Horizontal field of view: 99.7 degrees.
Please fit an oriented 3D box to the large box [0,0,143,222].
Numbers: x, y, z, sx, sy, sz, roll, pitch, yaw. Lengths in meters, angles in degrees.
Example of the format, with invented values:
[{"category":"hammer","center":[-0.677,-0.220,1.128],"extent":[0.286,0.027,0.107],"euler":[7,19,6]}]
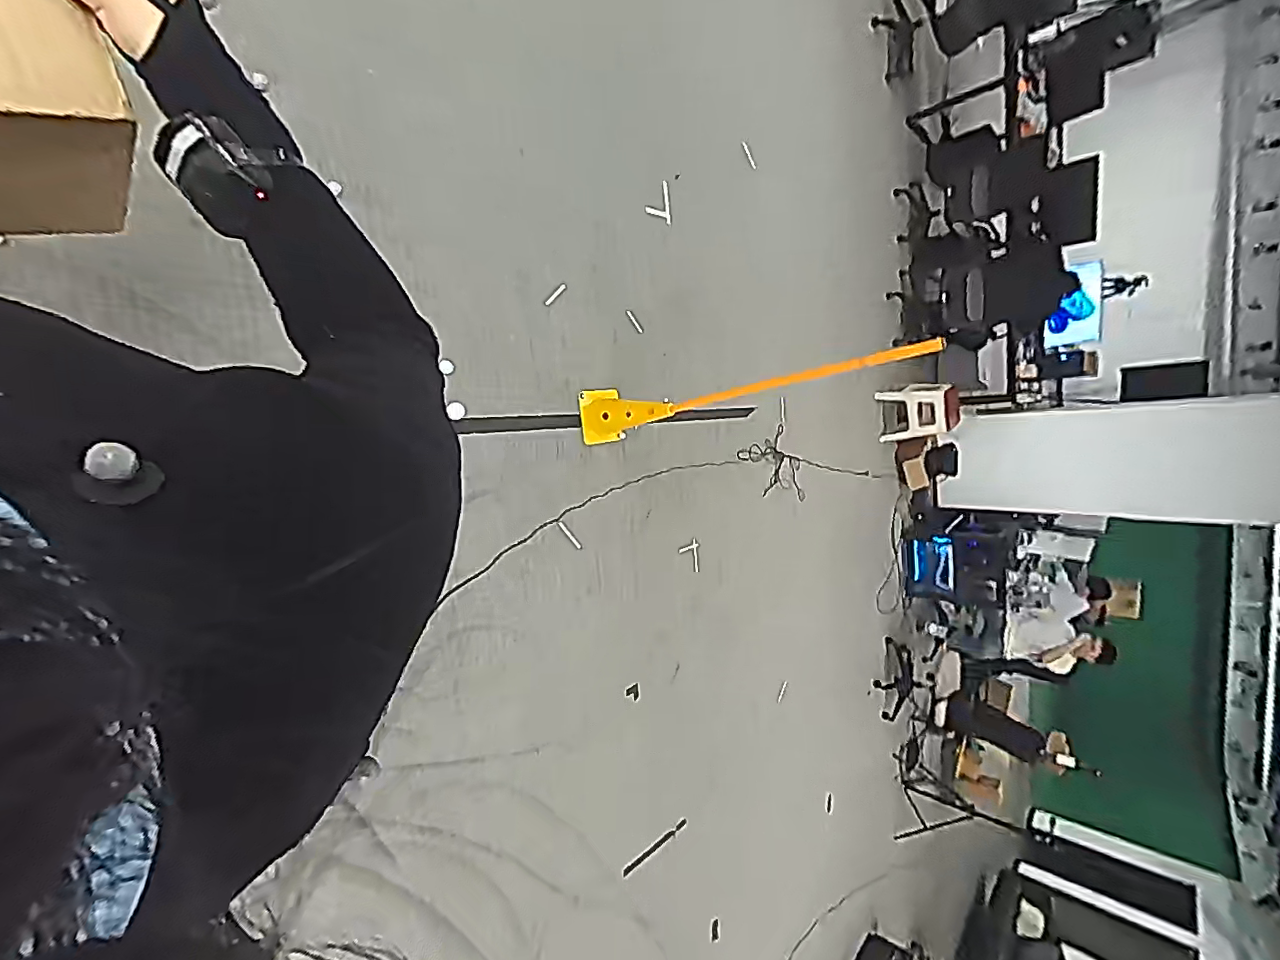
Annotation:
[{"category":"large box","center":[-0.630,-0.355,0.332],"extent":[0.408,0.320,0.320],"euler":[-25,111,-40]}]
